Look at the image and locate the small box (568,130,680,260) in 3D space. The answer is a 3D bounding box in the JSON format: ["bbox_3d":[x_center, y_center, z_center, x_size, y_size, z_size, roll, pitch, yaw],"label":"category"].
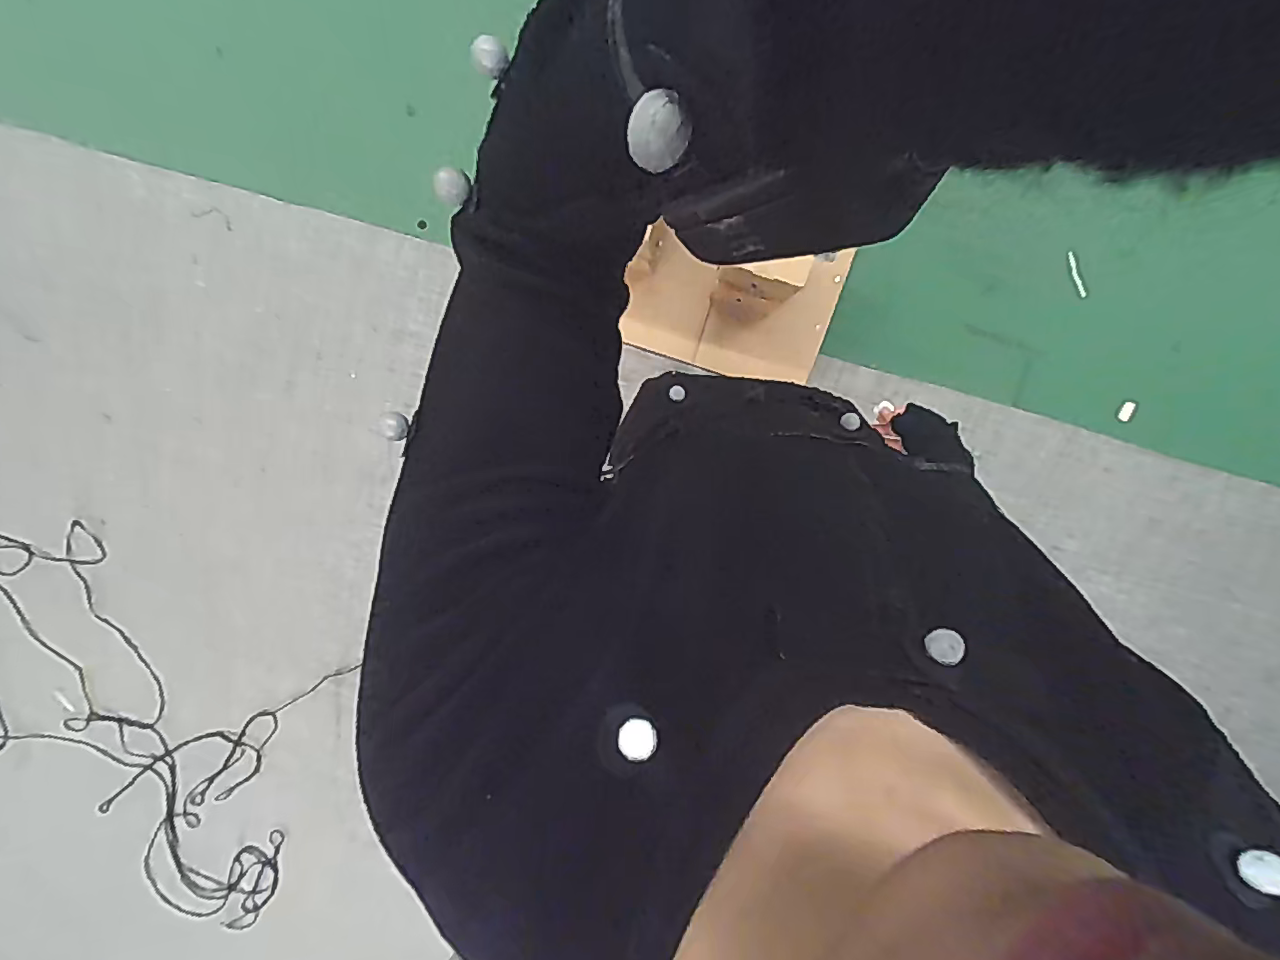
[{"bbox_3d":[-0.024,-0.569,1.107,0.179,0.176,0.168,21,101,2],"label":"small box"}]

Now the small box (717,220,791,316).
[{"bbox_3d":[0.283,-0.499,1.270,0.168,0.176,0.179,16,102,1],"label":"small box"}]

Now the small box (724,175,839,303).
[{"bbox_3d":[0.276,-0.481,1.105,0.168,0.176,0.179,19,101,1],"label":"small box"}]
